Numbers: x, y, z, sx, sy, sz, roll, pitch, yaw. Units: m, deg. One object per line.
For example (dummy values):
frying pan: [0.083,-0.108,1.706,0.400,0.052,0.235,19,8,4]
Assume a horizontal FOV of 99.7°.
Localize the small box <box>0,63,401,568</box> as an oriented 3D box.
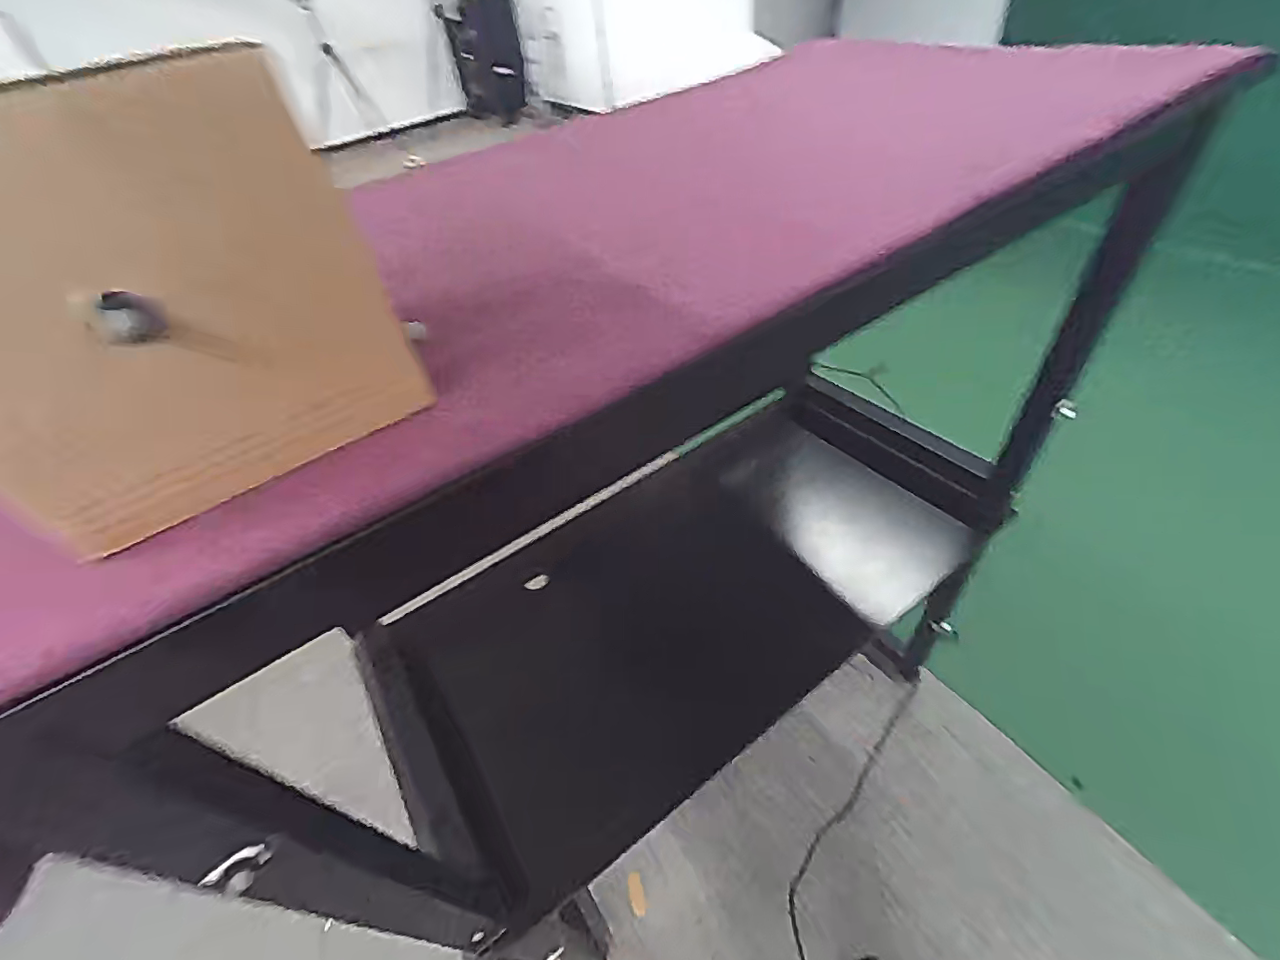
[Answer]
small box: [-0.251,-0.092,0.282,0.179,0.176,0.168,-33,47,-19]
